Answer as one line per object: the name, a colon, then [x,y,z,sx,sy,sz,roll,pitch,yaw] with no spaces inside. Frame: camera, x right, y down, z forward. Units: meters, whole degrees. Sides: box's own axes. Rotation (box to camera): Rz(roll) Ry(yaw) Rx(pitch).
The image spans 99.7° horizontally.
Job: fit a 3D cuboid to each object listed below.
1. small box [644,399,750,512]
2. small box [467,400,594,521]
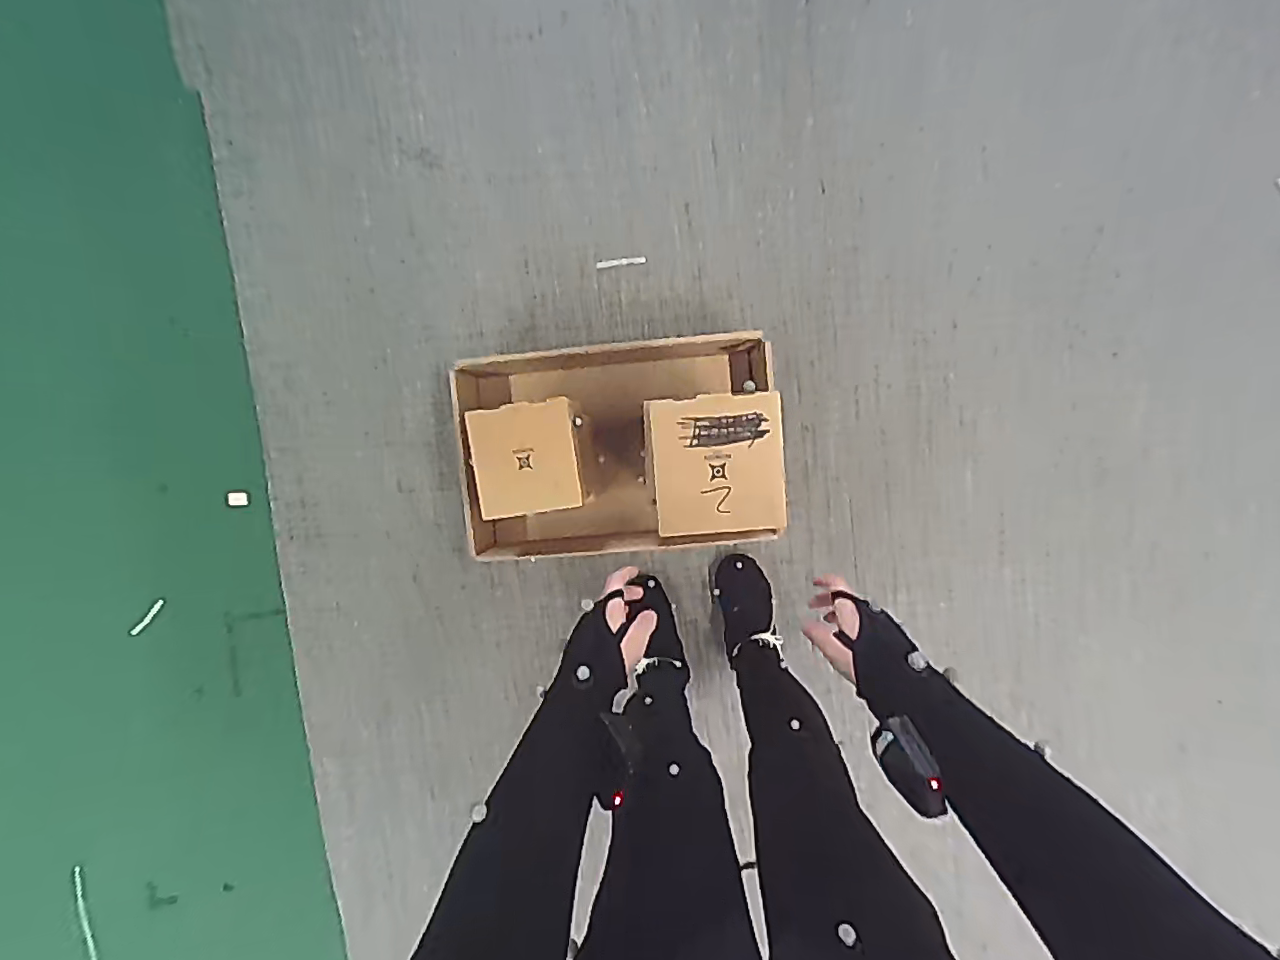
small box: [0.094,-0.045,0.924,0.168,0.176,0.179,-2,94,2]
small box: [-0.179,-0.037,0.937,0.168,0.176,0.179,-9,94,3]
